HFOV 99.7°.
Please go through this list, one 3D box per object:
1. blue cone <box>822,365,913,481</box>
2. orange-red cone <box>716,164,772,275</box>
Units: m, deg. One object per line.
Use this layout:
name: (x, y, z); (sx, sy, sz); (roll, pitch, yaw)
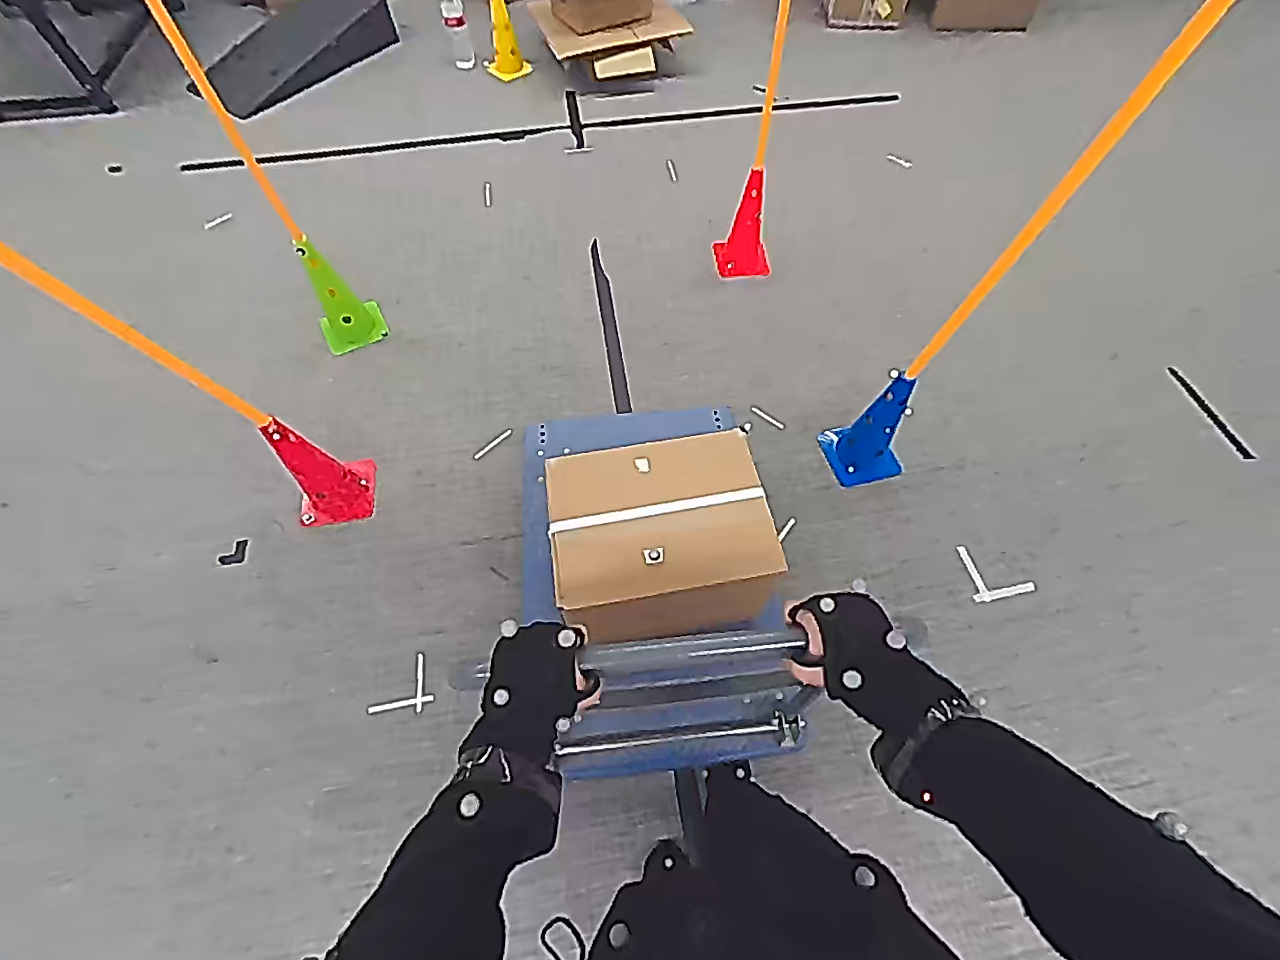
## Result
blue cone: (0.666, -0.170, 1.496); (0.193, 0.380, 0.192); (-12, 60, -7)
orange-red cone: (0.396, -0.934, 1.912); (0.199, 0.360, 0.198); (-2, 61, -2)
